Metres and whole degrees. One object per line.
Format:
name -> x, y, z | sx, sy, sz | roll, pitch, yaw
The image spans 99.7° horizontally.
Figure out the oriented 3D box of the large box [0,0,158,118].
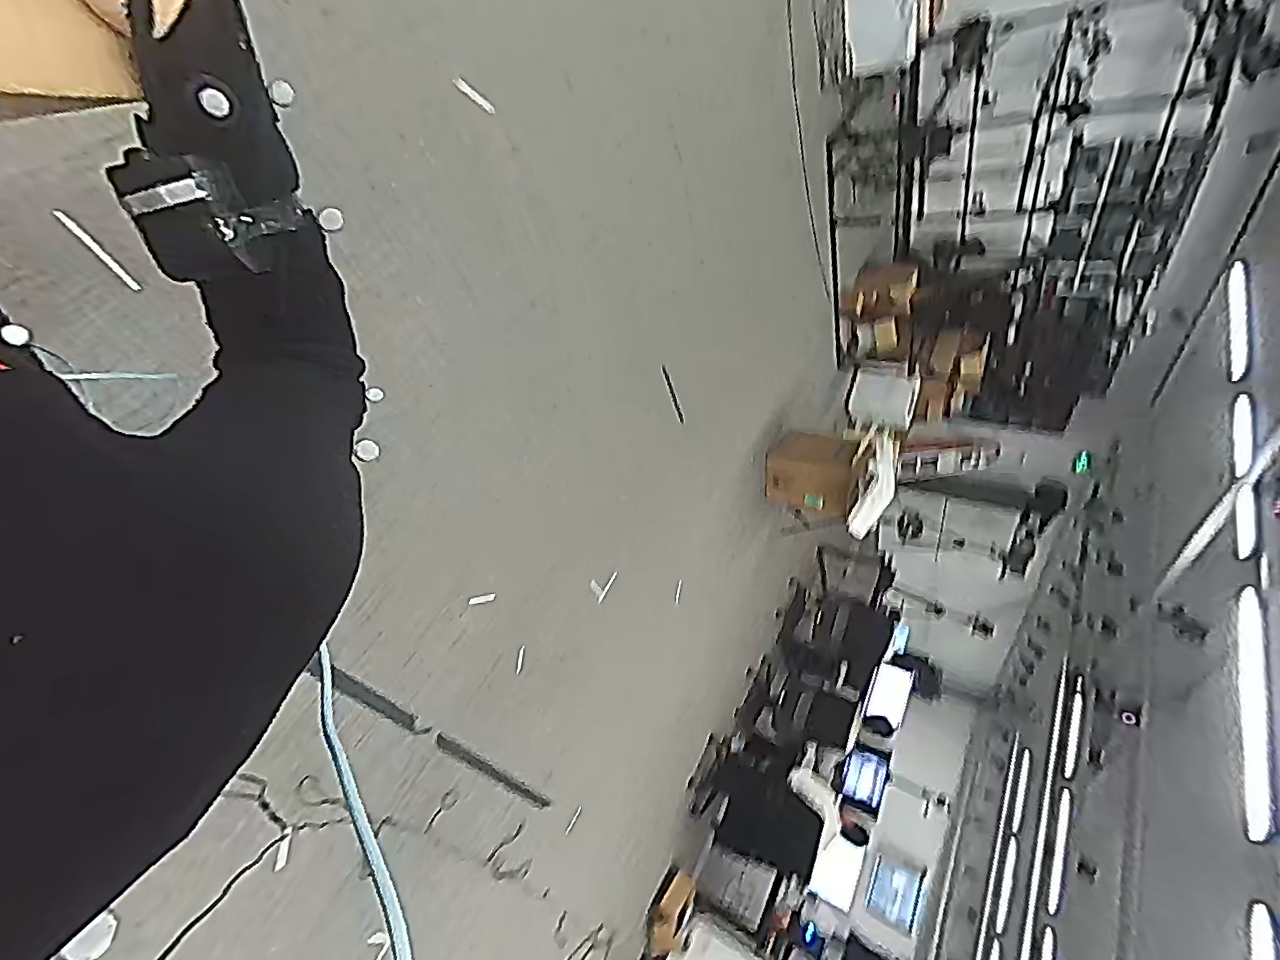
large box -> -0.479, -0.277, 0.123 | 0.408, 0.320, 0.320 | -42, 141, -49
